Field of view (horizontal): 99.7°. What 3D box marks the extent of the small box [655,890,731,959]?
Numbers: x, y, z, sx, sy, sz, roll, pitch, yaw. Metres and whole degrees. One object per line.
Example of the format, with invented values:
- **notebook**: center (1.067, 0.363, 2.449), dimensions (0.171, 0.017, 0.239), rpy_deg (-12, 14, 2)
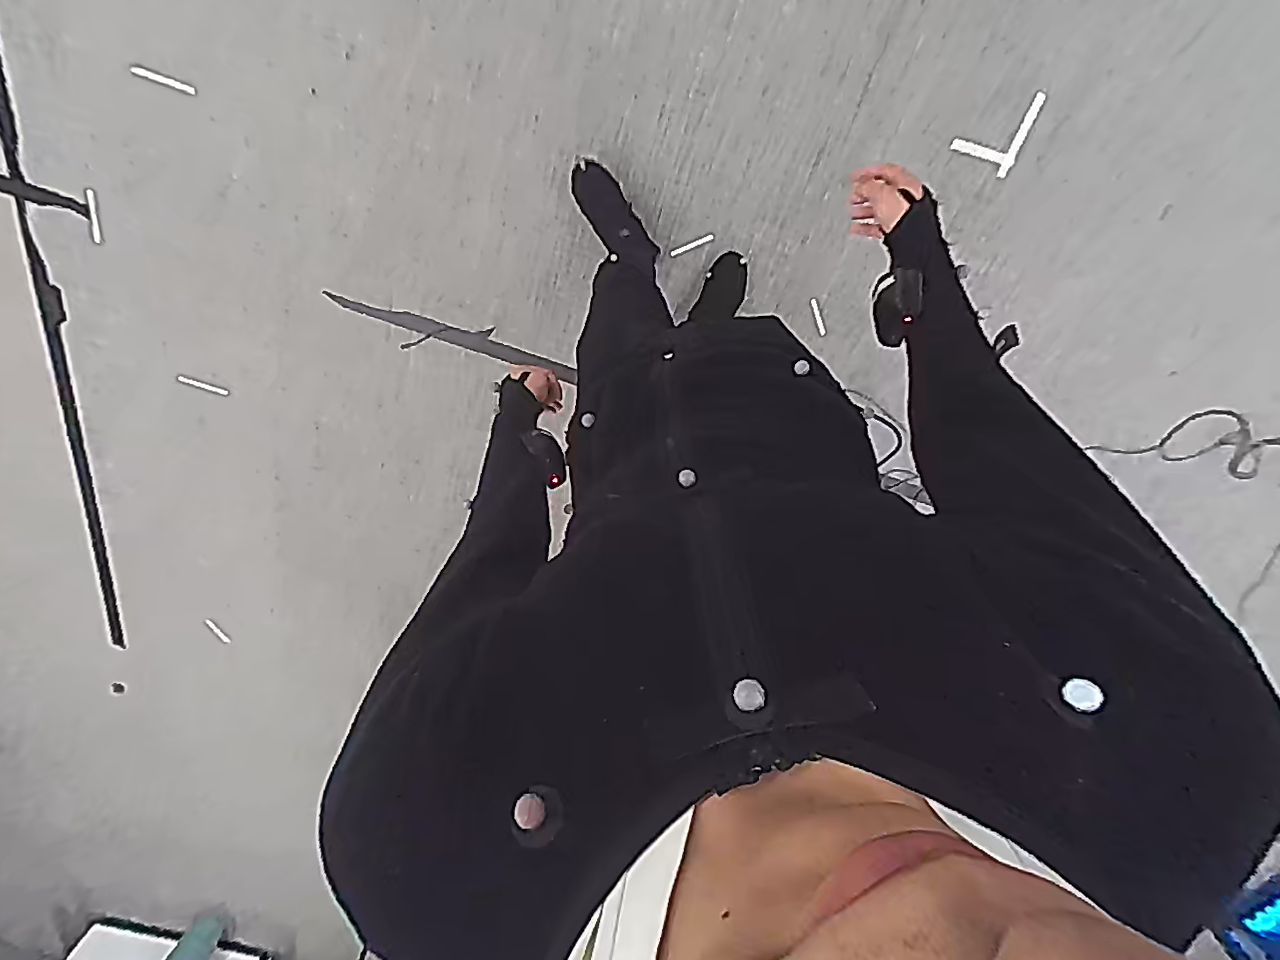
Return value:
- **small box**: center (0.141, 1.242, 1.455), dimensions (0.179, 0.176, 0.168), rpy_deg (11, 118, -1)
